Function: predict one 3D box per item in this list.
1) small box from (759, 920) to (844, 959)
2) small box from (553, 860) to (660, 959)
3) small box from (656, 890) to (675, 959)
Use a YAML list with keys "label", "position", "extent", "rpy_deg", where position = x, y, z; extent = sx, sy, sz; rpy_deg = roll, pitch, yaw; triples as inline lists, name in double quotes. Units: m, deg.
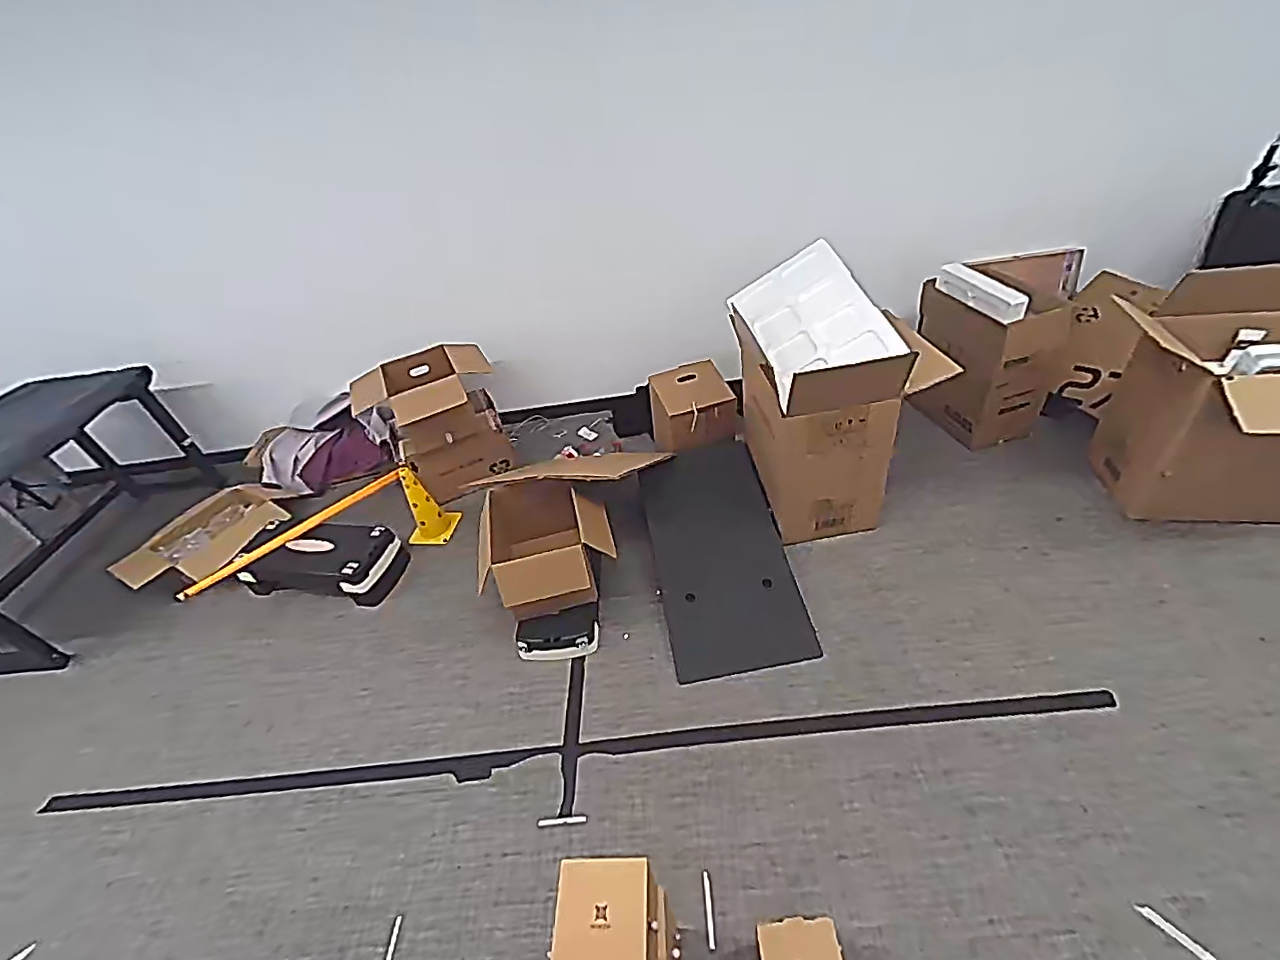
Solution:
- label: "small box"
  position: [0.348, 1.062, 1.137]
  extent: [0.168, 0.176, 0.179]
  rpy_deg: [-9, 40, 4]
- label: "small box"
  position: [-0.055, 0.826, 0.990]
  extent: [0.168, 0.176, 0.179]
  rpy_deg: [-5, 40, 5]
- label: "small box"
  position: [-0.023, 0.953, 1.087]
  extent: [0.179, 0.176, 0.168]
  rpy_deg: [-6, 39, 3]
